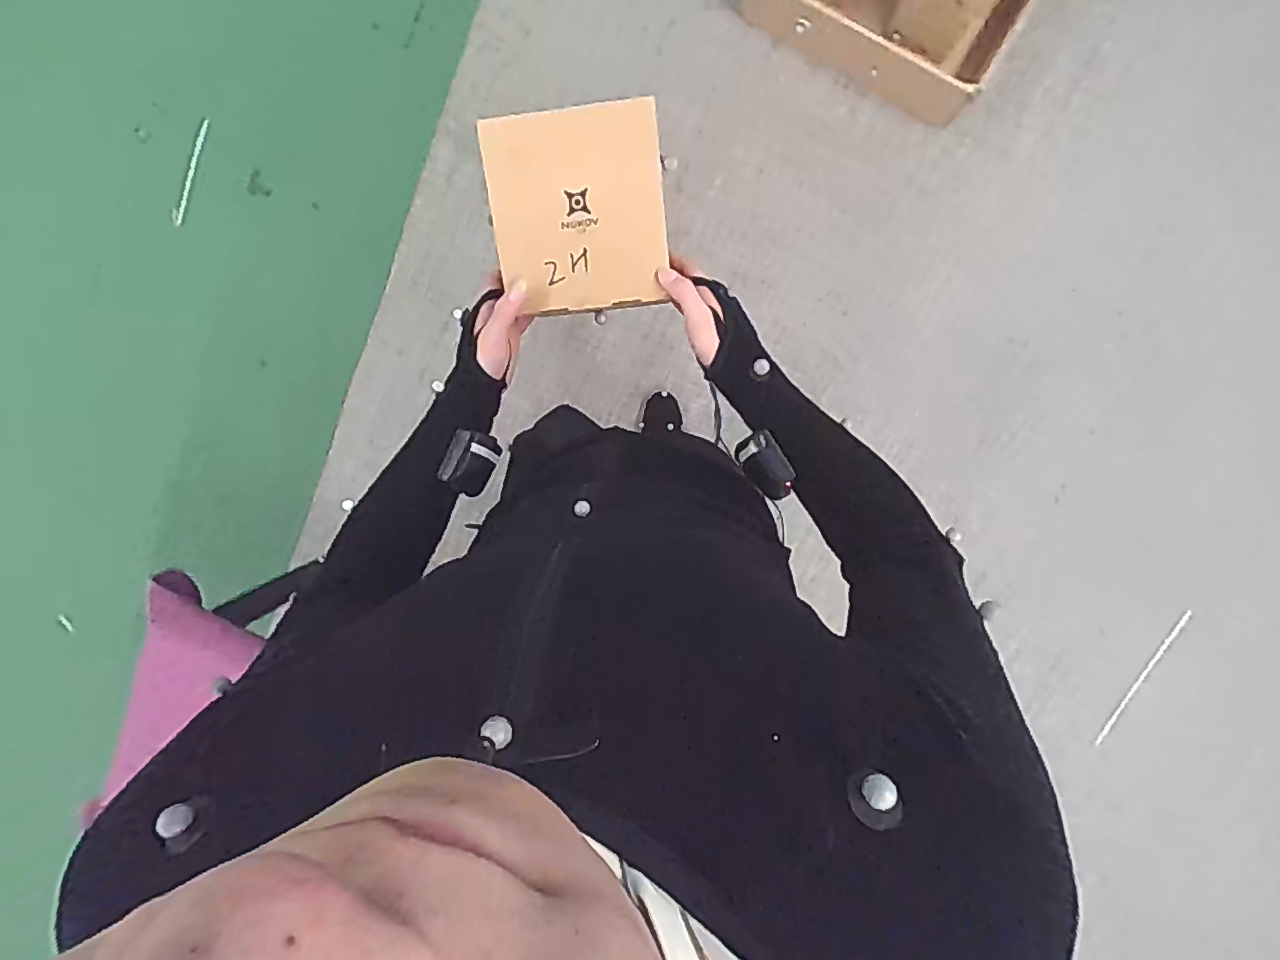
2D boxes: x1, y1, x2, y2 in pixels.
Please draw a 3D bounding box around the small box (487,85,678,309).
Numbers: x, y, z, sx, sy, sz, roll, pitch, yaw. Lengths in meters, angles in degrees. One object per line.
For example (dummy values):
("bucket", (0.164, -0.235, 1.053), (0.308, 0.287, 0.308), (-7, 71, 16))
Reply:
("small box", (-0.049, -0.281, 0.578), (0.168, 0.176, 0.179), (-4, 106, 4))
